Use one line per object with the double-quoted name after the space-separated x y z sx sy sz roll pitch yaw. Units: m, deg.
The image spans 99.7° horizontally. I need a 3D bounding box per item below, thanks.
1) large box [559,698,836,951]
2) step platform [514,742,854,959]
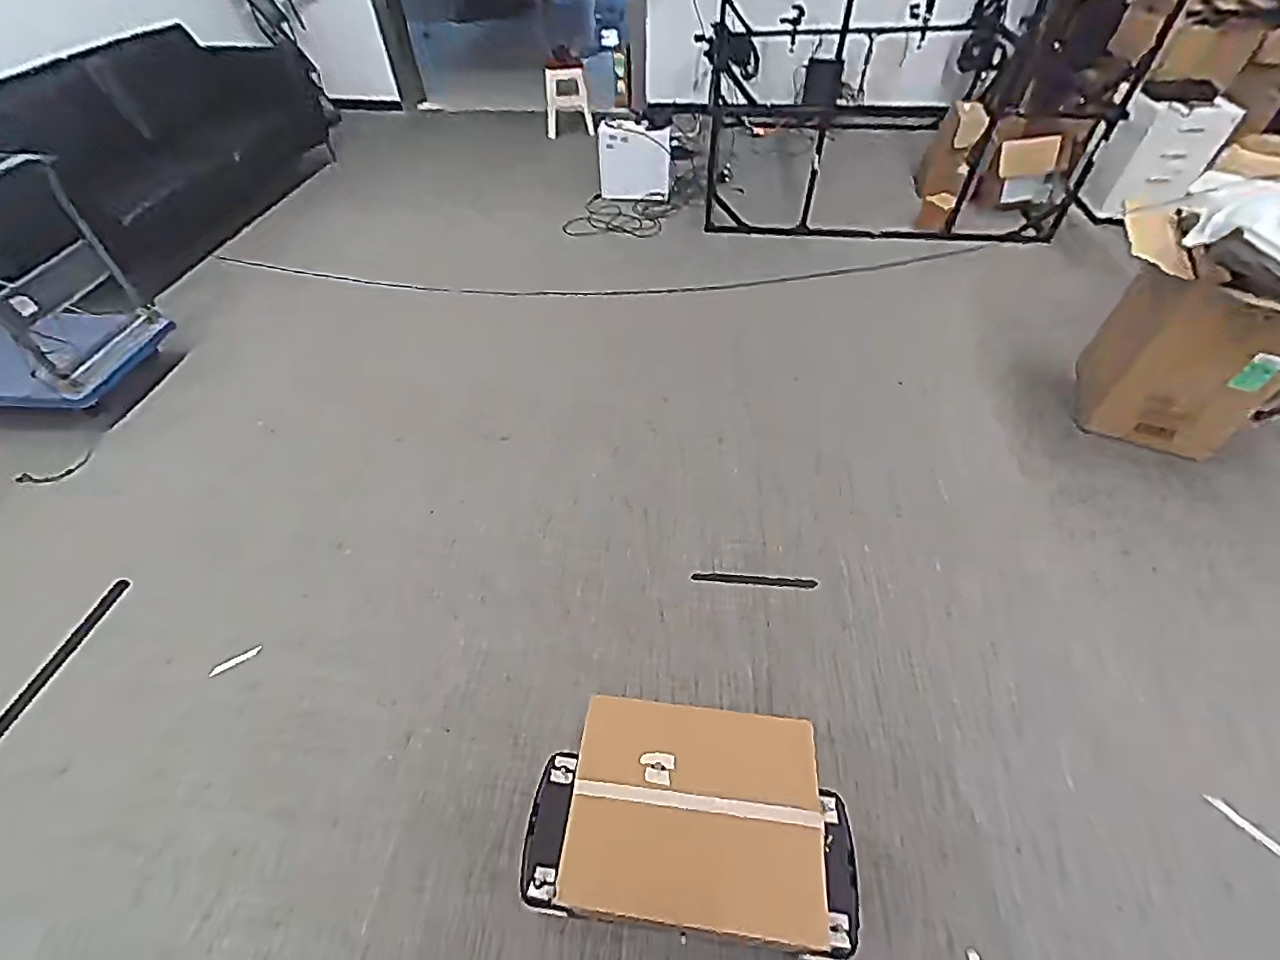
0.102 0.622 0.978 0.408 0.320 0.320 4 48 7 "large box"
0.088 0.791 1.147 0.684 0.204 0.286 9 49 10 "step platform"
